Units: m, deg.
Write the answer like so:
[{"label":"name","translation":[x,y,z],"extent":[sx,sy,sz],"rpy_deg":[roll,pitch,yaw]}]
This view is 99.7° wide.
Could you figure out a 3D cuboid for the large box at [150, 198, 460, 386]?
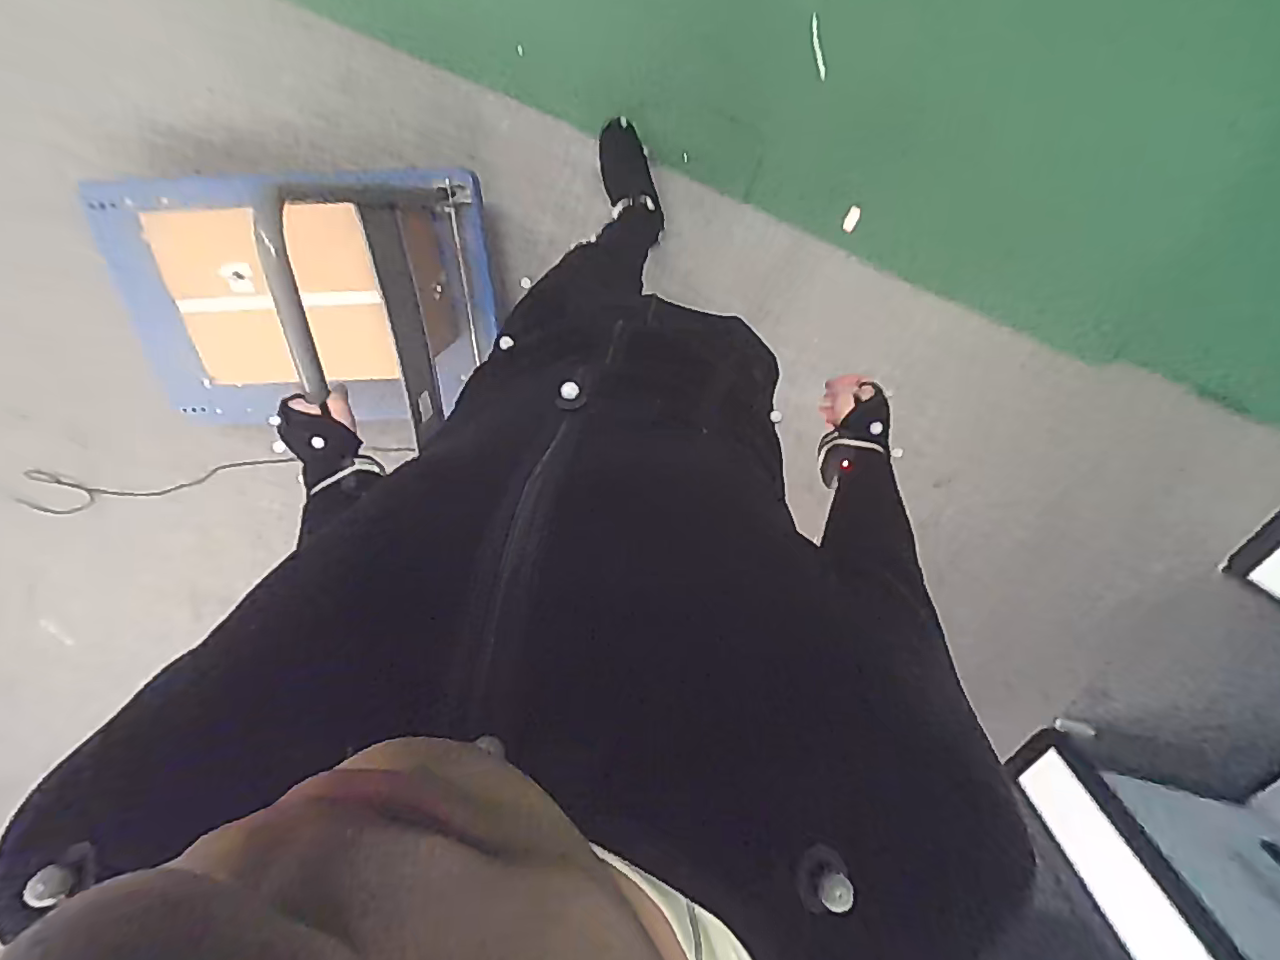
[{"label":"large box","translation":[-0.644,-0.402,1.130],"extent":[0.408,0.320,0.320],"rpy_deg":[-2,118,1]}]
